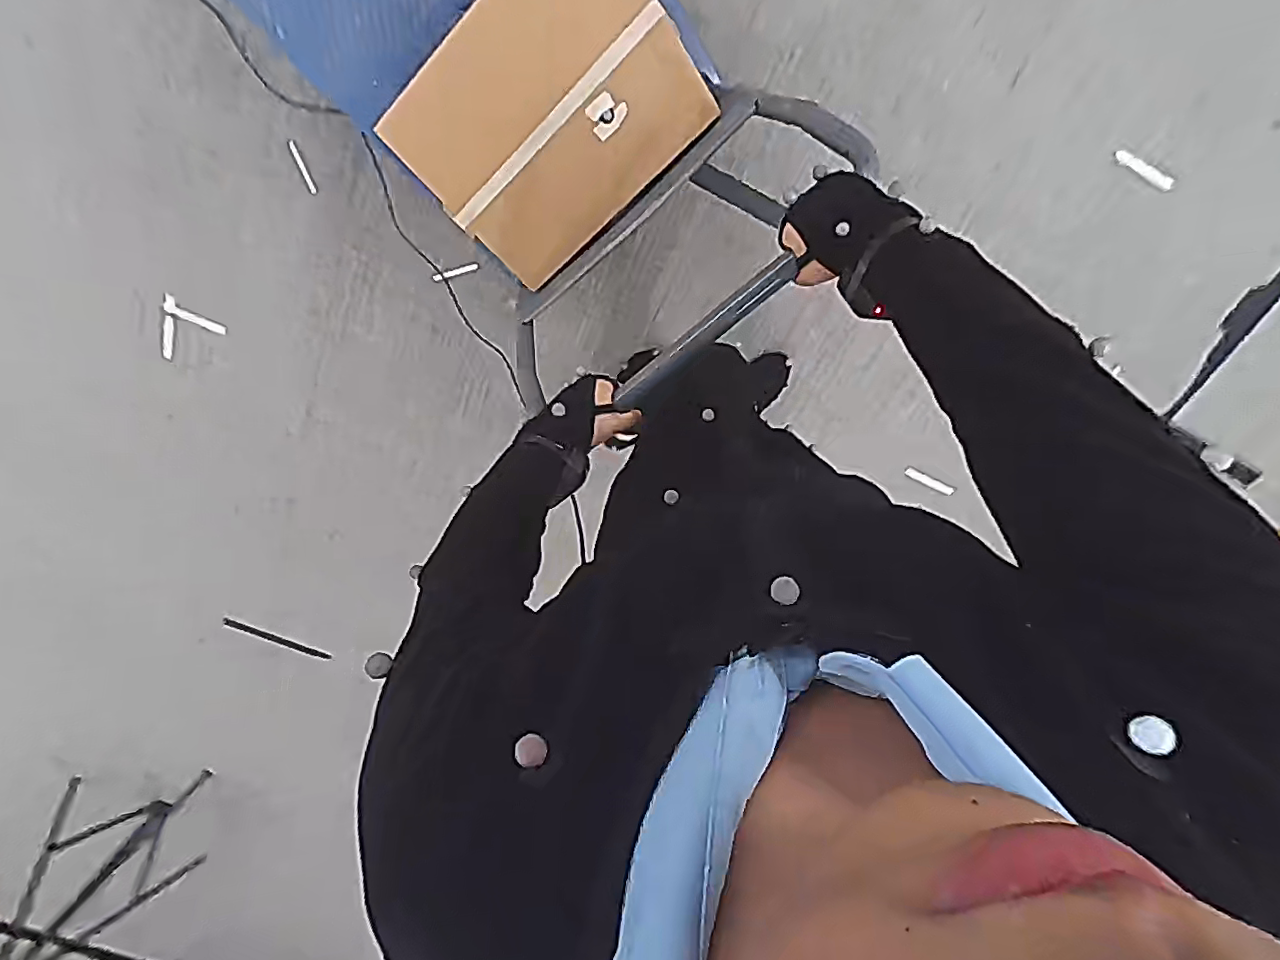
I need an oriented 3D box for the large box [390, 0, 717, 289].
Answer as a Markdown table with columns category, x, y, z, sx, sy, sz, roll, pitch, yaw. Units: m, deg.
| category | x | y | z | sx | sy | sz | roll | pitch | yaw |
| --- | --- | --- | --- | --- | --- | --- | --- | --- | --- |
| large box | -0.146 | -0.616 | 0.925 | 0.408 | 0.320 | 0.320 | -38 | 123 | 17 |
